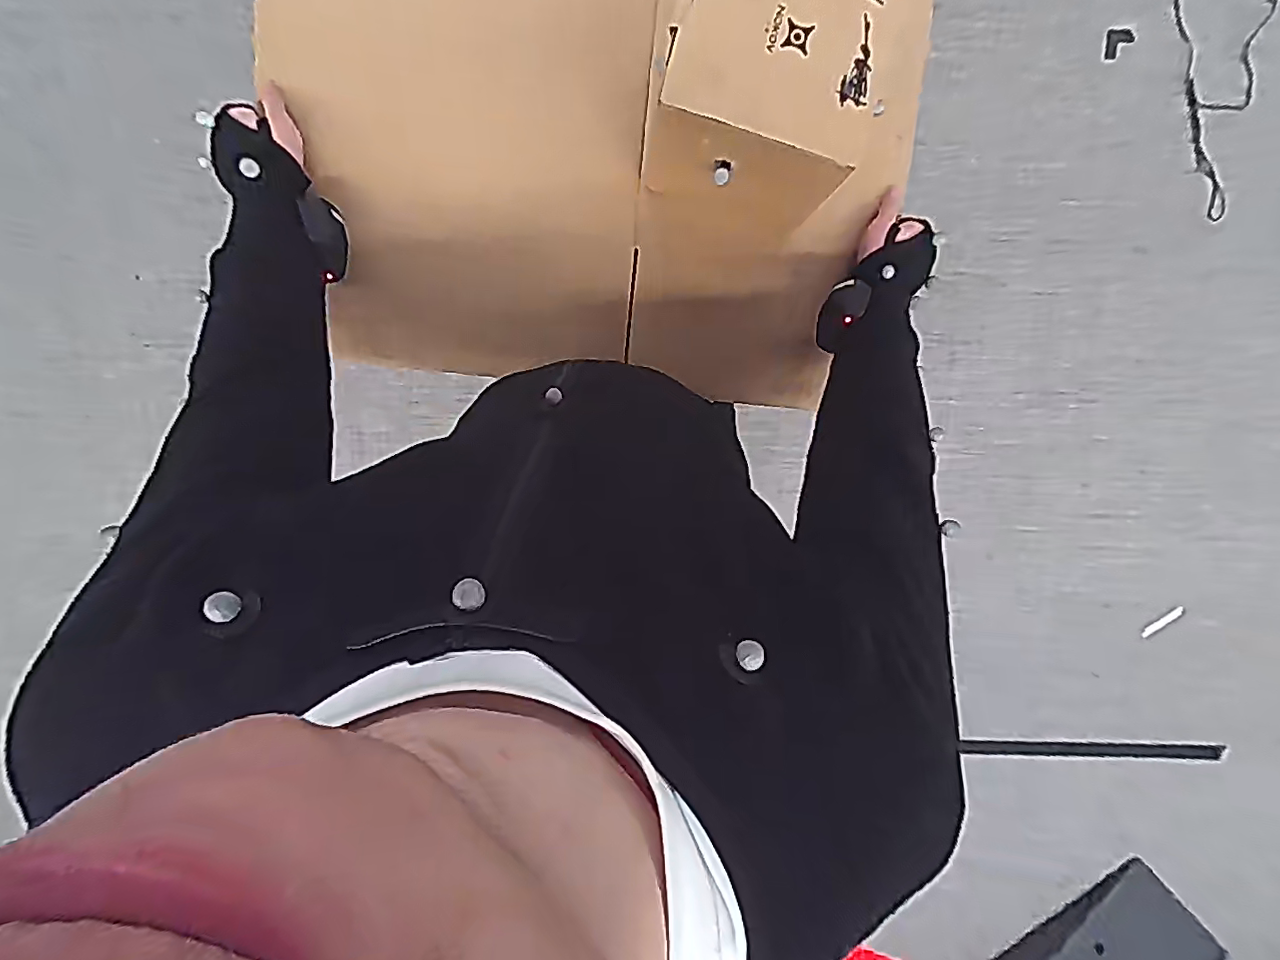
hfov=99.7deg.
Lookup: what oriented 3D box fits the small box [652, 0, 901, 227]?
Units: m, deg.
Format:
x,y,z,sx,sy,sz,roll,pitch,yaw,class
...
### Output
x,y,z,sx,sy,sz,roll,pitch,yaw,class
0.115,-0.372,0.523,0.179,0.176,0.168,15,96,-3,small box
